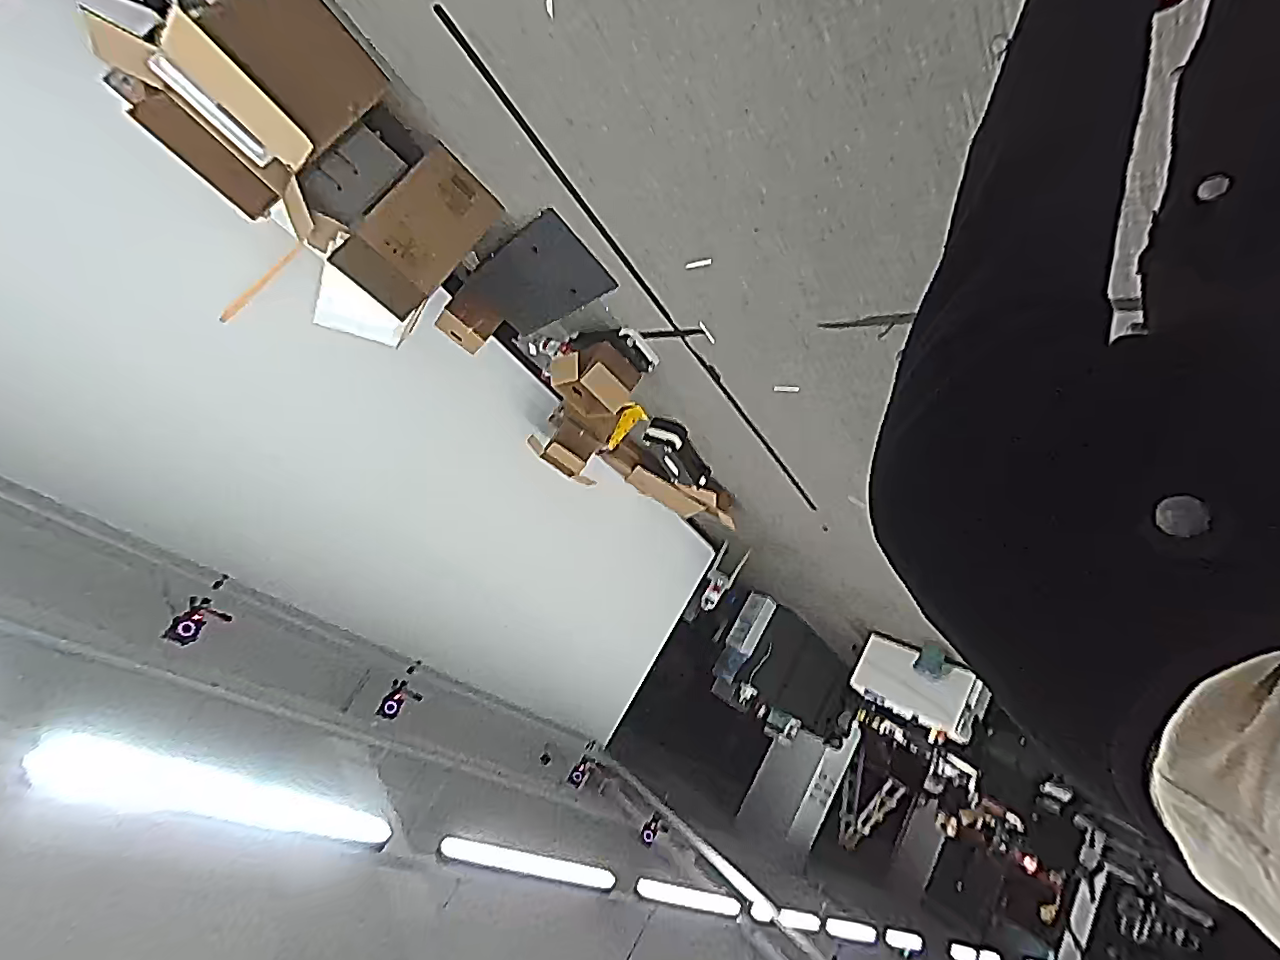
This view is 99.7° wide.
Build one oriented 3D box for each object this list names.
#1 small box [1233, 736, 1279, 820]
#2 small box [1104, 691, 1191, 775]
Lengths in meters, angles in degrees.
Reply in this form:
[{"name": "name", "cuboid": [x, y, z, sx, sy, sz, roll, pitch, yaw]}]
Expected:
[{"name": "small box", "cuboid": [1.822, 0.861, 1.528, 0.168, 0.176, 0.179, 14, 157, 50]}, {"name": "small box", "cuboid": [1.643, 0.812, 1.747, 0.168, 0.176, 0.179, 42, 163, -35]}]
